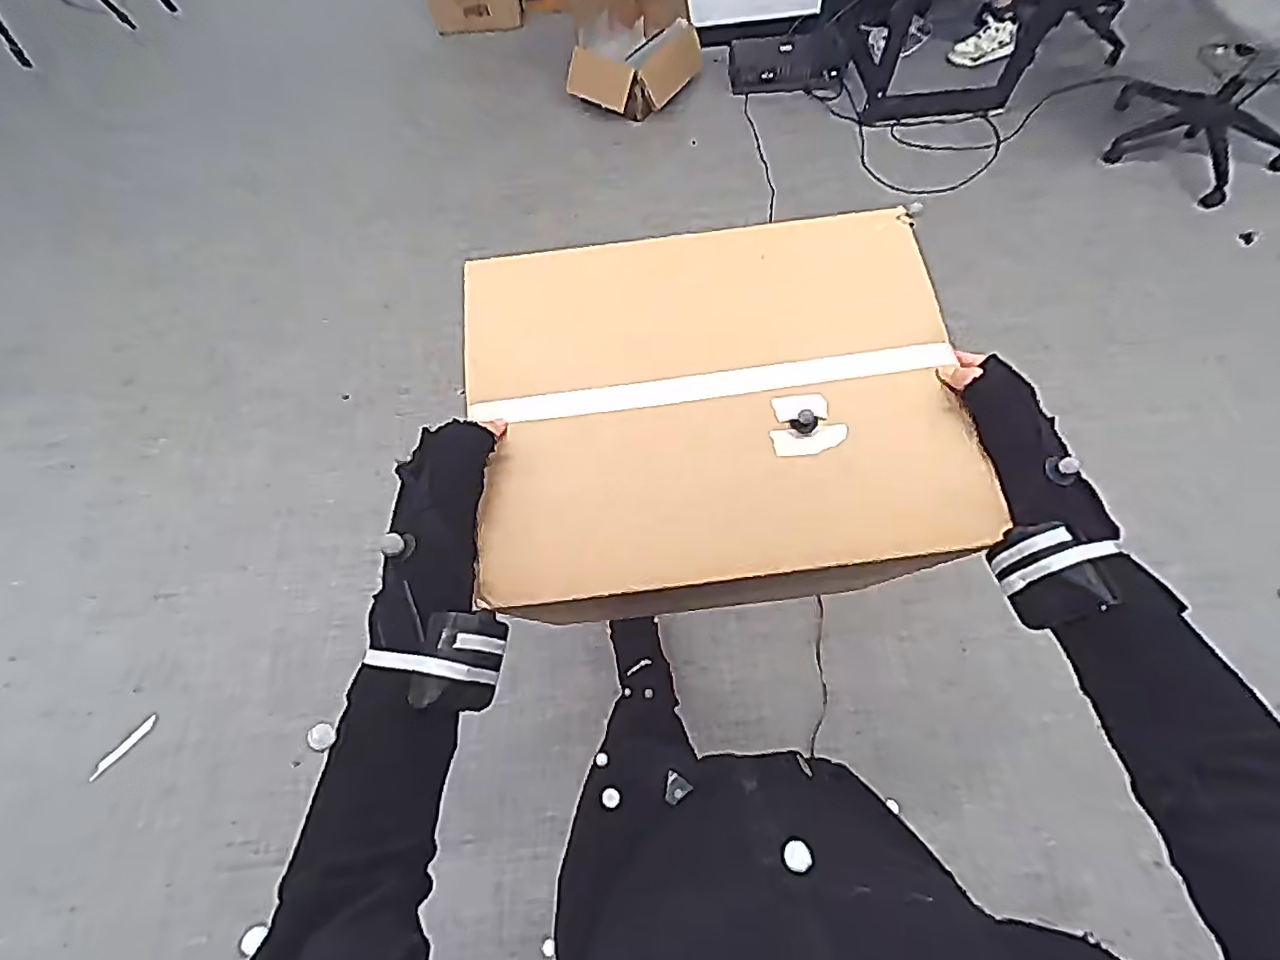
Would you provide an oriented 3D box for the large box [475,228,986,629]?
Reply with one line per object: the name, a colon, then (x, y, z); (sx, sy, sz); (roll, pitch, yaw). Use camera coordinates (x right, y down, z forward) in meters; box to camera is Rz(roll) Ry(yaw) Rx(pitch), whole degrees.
large box: (0.063, -0.025, 0.611); (0.408, 0.320, 0.320); (-8, 72, 0)
